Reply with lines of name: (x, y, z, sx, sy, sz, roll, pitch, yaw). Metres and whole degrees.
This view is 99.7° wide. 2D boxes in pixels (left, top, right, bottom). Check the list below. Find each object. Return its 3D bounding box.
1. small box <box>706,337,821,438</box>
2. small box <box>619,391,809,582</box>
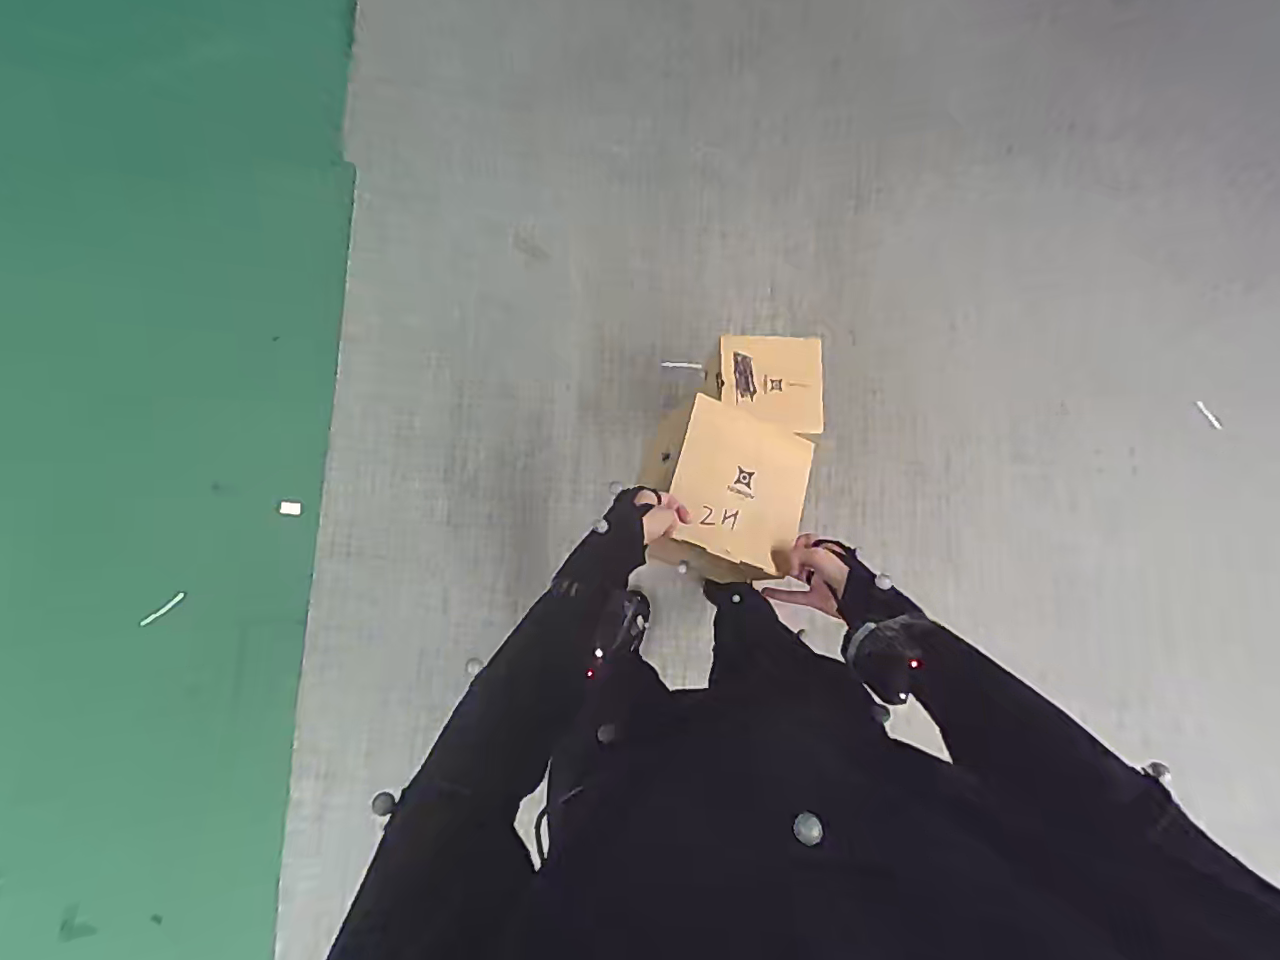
small box: (0.212, -0.147, 0.976, 0.179, 0.176, 0.168, 2, 84, -2)
small box: (0.087, 0.020, 0.691, 0.168, 0.176, 0.179, 21, 71, -13)
